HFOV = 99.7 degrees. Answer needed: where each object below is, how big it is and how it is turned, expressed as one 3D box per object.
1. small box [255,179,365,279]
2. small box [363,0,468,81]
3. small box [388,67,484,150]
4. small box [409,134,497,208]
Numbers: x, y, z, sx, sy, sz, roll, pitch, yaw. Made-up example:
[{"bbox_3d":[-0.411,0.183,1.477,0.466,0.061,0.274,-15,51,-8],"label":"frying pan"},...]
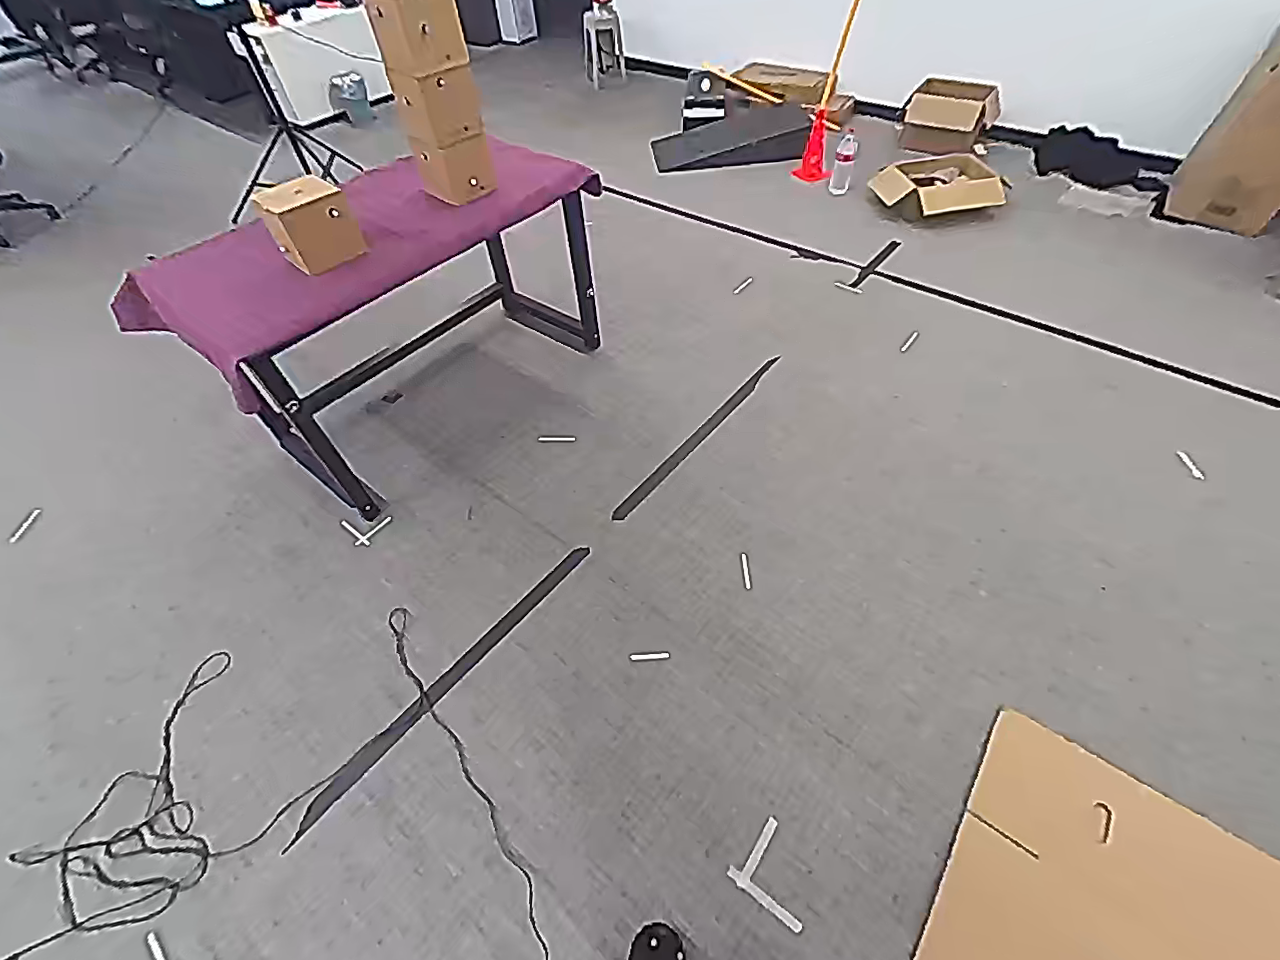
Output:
[{"bbox_3d":[-0.875,-0.675,1.457,0.168,0.176,0.179,34,61,27],"label":"small box"},{"bbox_3d":[-0.581,-1.172,1.417,0.179,0.176,0.168,36,62,28],"label":"small box"},{"bbox_3d":[-0.578,-1.073,1.547,0.179,0.176,0.168,36,62,28],"label":"small box"},{"bbox_3d":[-0.574,-0.973,1.677,0.179,0.176,0.168,34,61,26],"label":"small box"}]
